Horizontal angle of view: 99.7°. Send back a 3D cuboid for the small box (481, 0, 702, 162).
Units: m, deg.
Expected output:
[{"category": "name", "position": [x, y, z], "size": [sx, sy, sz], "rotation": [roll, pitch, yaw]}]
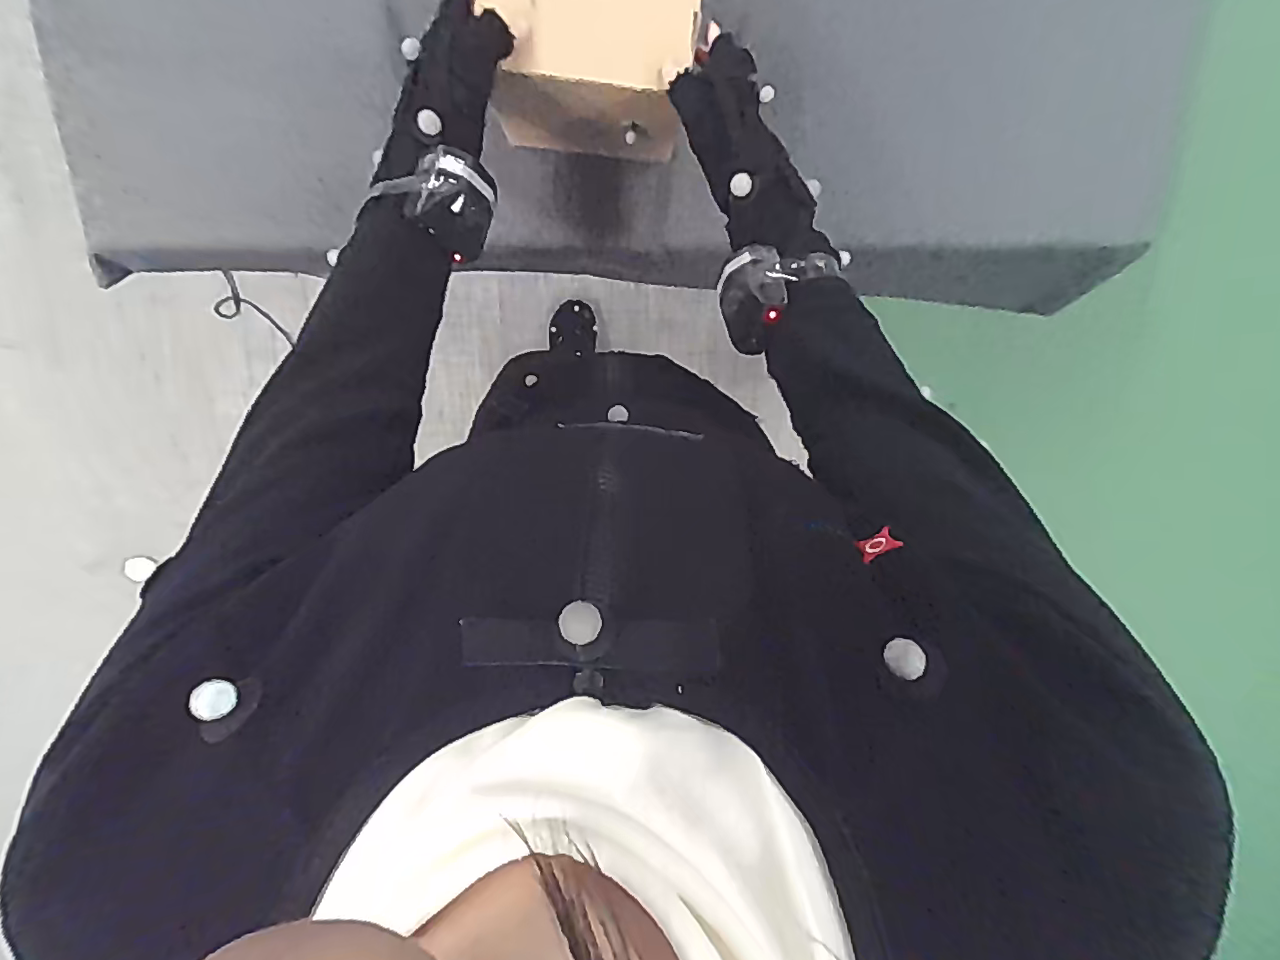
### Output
[{"category": "small box", "position": [-0.040, -0.416, 0.501], "size": [0.179, 0.176, 0.168], "rotation": [3, 102, -3]}]
